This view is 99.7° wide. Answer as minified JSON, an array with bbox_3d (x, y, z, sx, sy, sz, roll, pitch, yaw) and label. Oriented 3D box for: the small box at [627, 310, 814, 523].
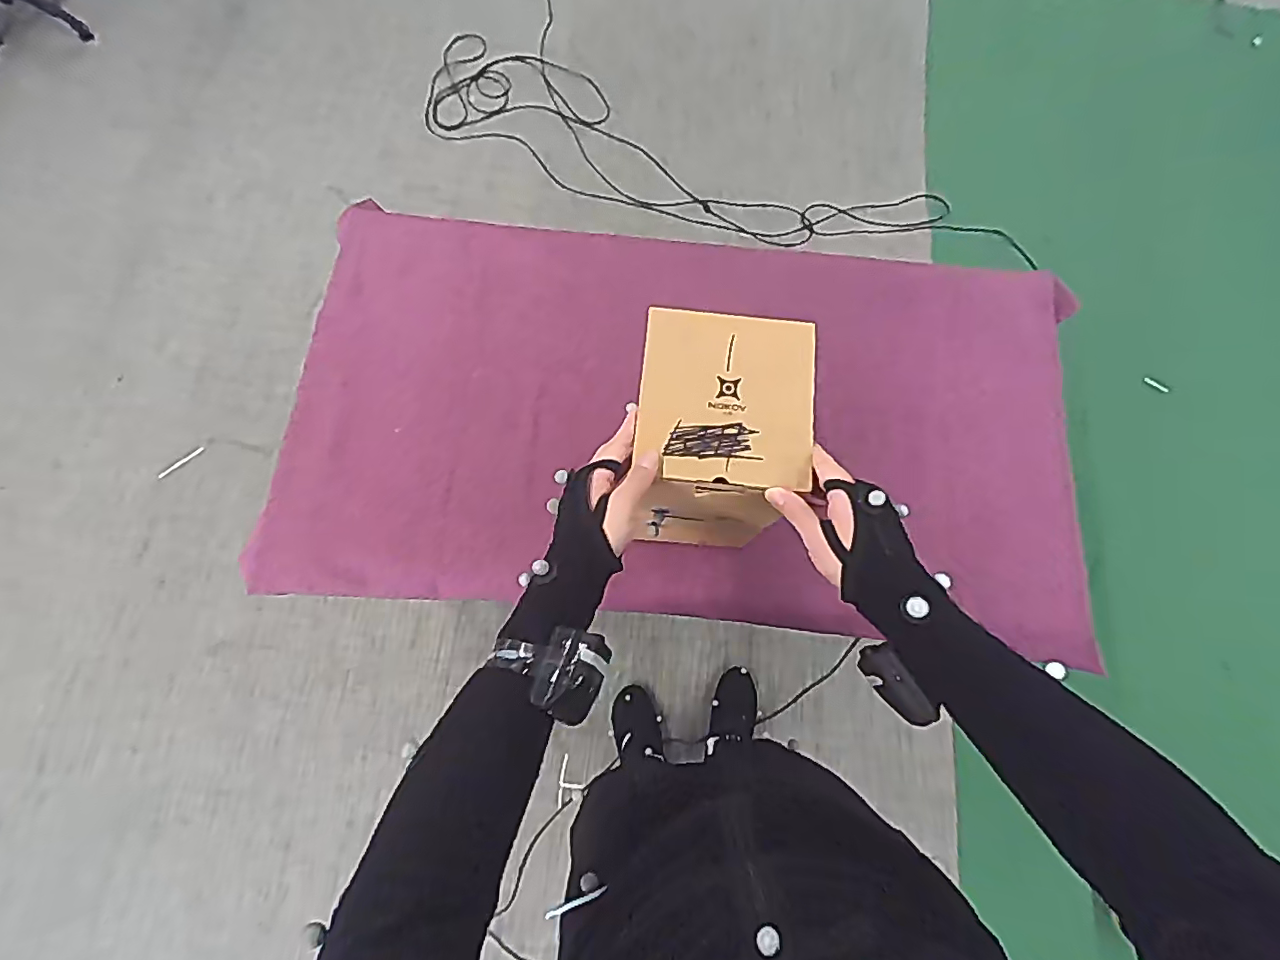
[{"bbox_3d":[0.079,-0.056,0.585,0.168,0.176,0.179,6,75,1],"label":"small box"}]
